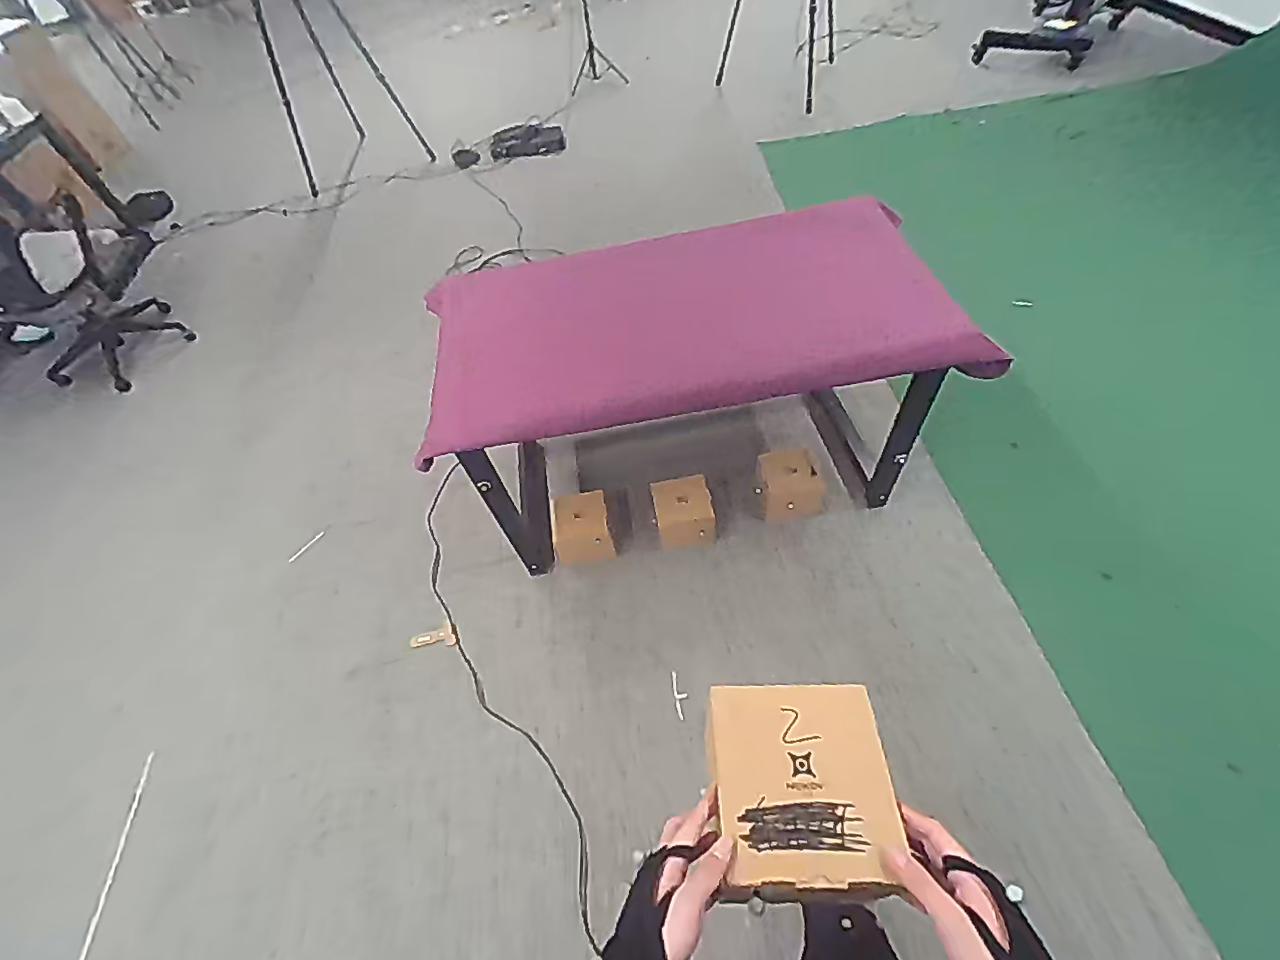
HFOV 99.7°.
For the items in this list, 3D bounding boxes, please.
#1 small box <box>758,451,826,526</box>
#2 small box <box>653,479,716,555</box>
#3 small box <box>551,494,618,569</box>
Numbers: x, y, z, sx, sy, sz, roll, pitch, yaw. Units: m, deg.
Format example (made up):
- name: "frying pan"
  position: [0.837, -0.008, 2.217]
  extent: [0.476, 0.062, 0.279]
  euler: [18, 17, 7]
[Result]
- name: "small box"
  position: [0.484, 0.033, 1.751]
  extent: [0.179, 0.176, 0.168]
  euler: [-9, 54, 2]
- name: "small box"
  position: [0.143, 0.122, 1.737]
  extent: [0.179, 0.176, 0.168]
  euler: [-11, 53, 2]
- name: "small box"
  position: [-0.179, 0.172, 1.749]
  extent: [0.179, 0.176, 0.168]
  euler: [-11, 54, 0]
